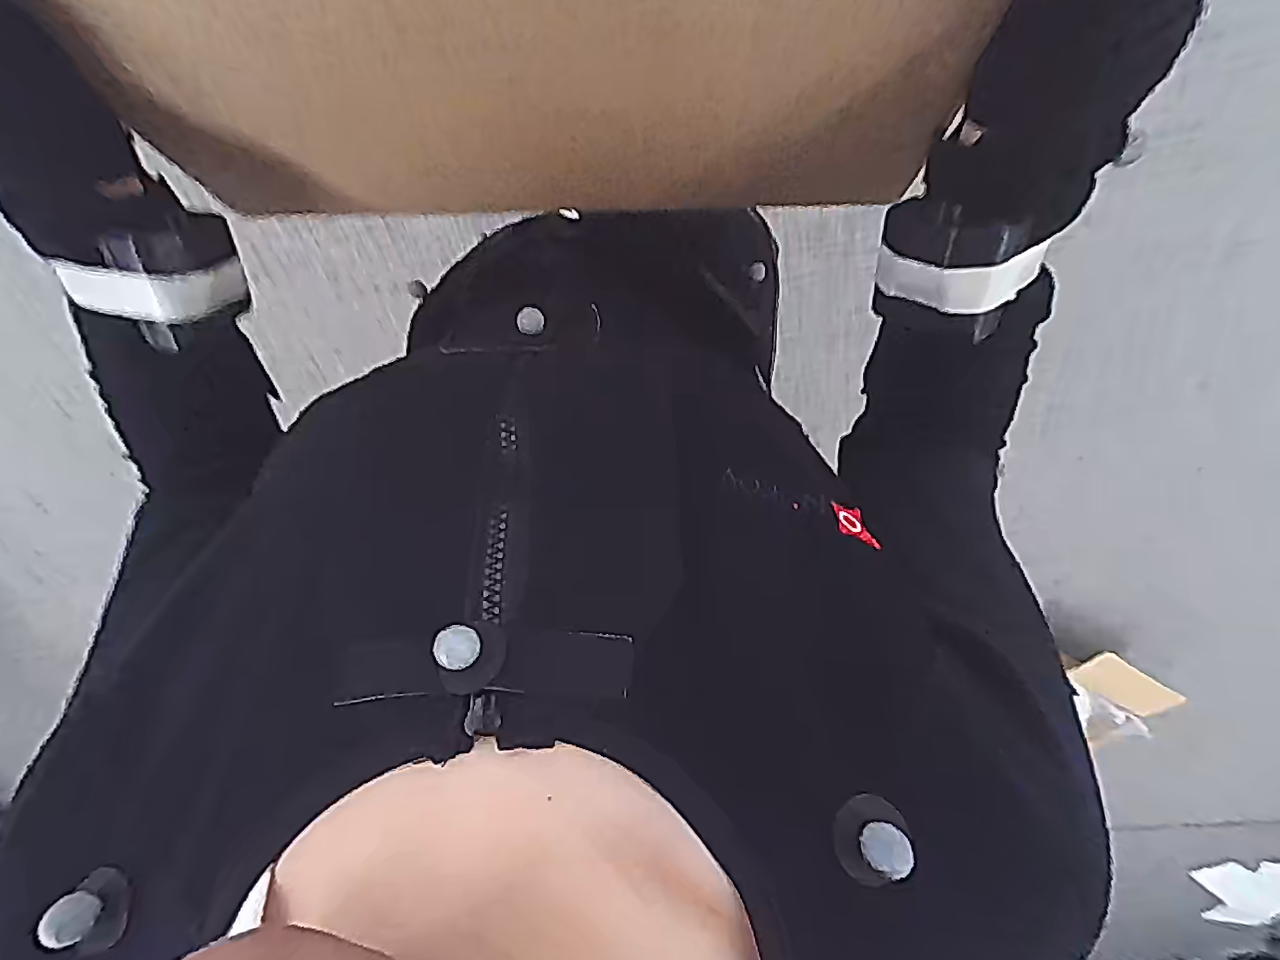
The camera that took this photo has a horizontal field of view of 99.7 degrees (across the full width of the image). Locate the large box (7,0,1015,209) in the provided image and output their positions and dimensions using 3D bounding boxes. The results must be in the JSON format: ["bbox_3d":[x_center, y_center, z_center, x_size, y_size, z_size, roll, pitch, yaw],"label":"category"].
[{"bbox_3d":[-0.053,-0.343,0.204,0.408,0.320,0.320,1,82,4],"label":"large box"}]
